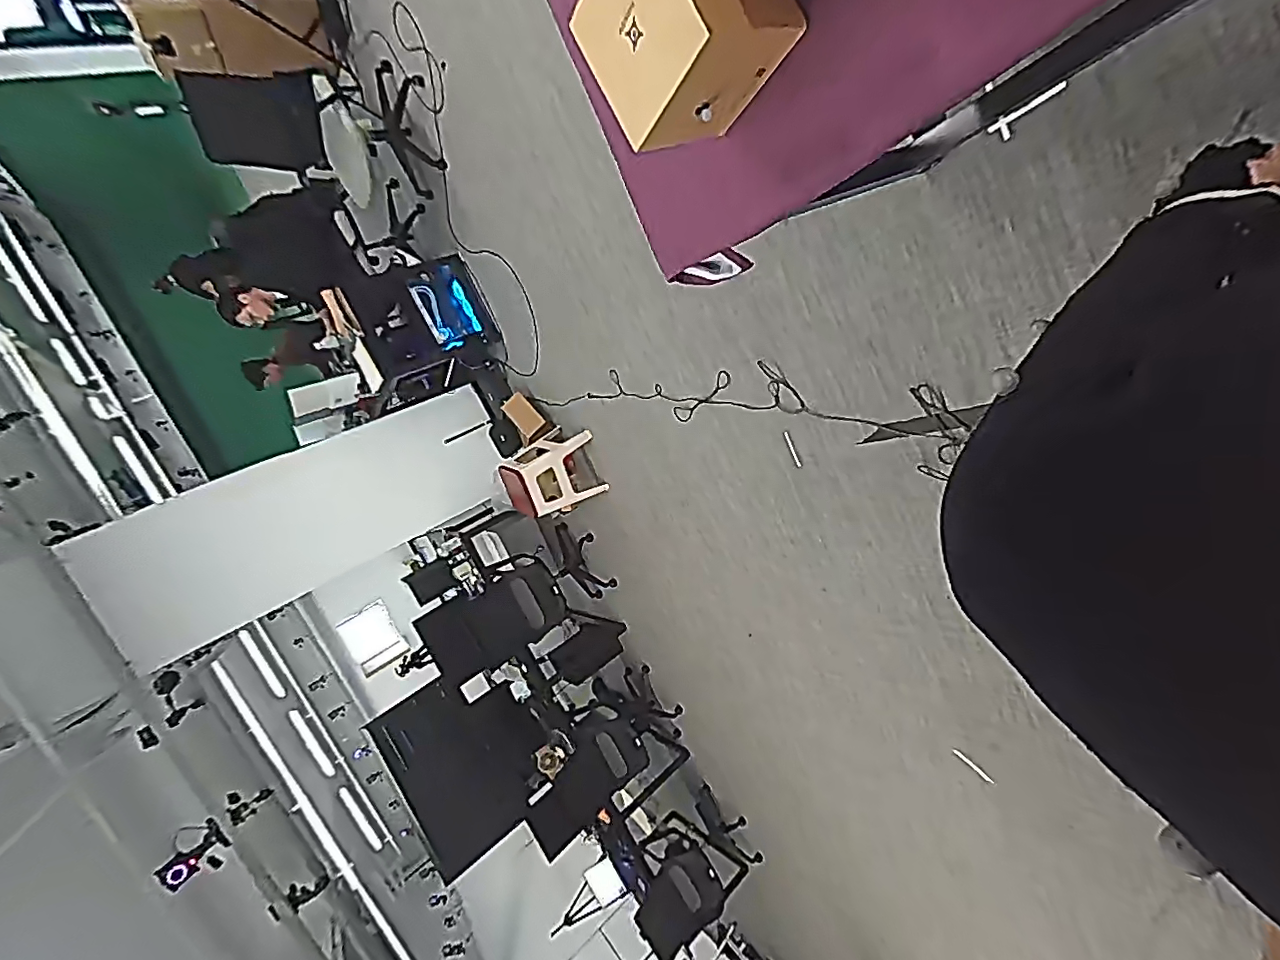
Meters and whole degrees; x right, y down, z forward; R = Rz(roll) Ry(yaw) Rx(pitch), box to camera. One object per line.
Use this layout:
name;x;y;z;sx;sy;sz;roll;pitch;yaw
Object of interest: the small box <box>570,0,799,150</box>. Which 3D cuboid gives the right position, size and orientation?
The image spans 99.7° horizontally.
small box;0.052;-0.535;0.634;0.179;0.176;0.168;62;151;-3
